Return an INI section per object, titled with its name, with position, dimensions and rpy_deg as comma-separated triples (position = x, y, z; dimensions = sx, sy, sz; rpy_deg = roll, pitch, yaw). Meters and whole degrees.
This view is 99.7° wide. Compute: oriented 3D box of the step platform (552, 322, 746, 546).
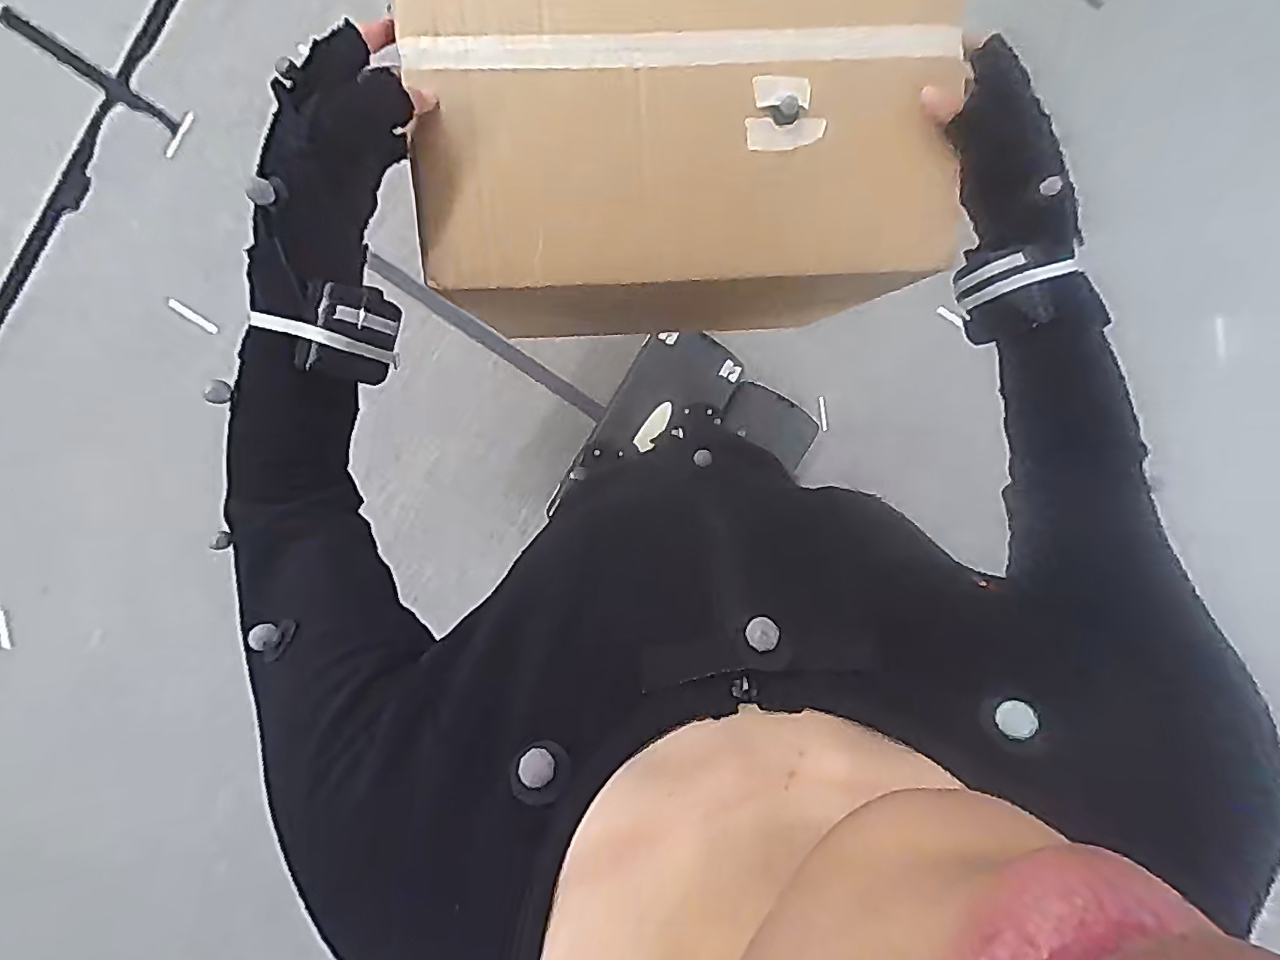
[step platform]
position = 0.023, -0.151, 1.566
dimensions = 0.286, 0.204, 0.684
rpy_deg = 30, 92, -6

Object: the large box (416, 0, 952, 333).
[large box]
position = 0.027, -0.336, 0.548
dimensions = 0.408, 0.320, 0.320
rpy_deg = -3, 98, -4
